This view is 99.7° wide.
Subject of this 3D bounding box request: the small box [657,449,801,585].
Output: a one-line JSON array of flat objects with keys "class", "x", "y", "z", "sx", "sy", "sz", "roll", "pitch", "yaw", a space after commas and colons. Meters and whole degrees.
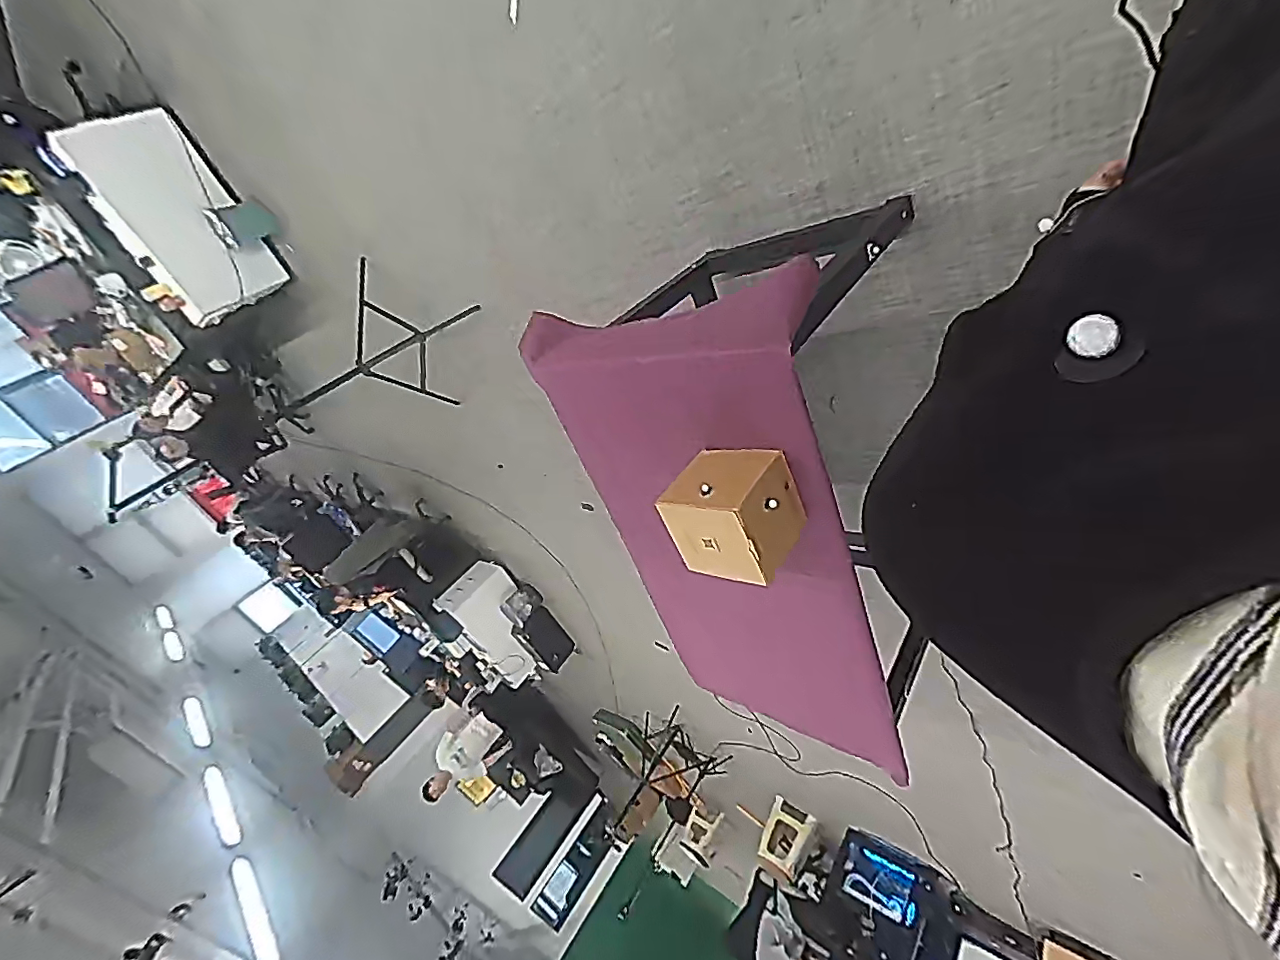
[{"class": "small box", "x": 0.168, "y": 0.057, "z": 0.962, "sx": 0.179, "sy": 0.176, "sz": 0.168, "roll": 4, "pitch": 130, "yaw": 46}]
